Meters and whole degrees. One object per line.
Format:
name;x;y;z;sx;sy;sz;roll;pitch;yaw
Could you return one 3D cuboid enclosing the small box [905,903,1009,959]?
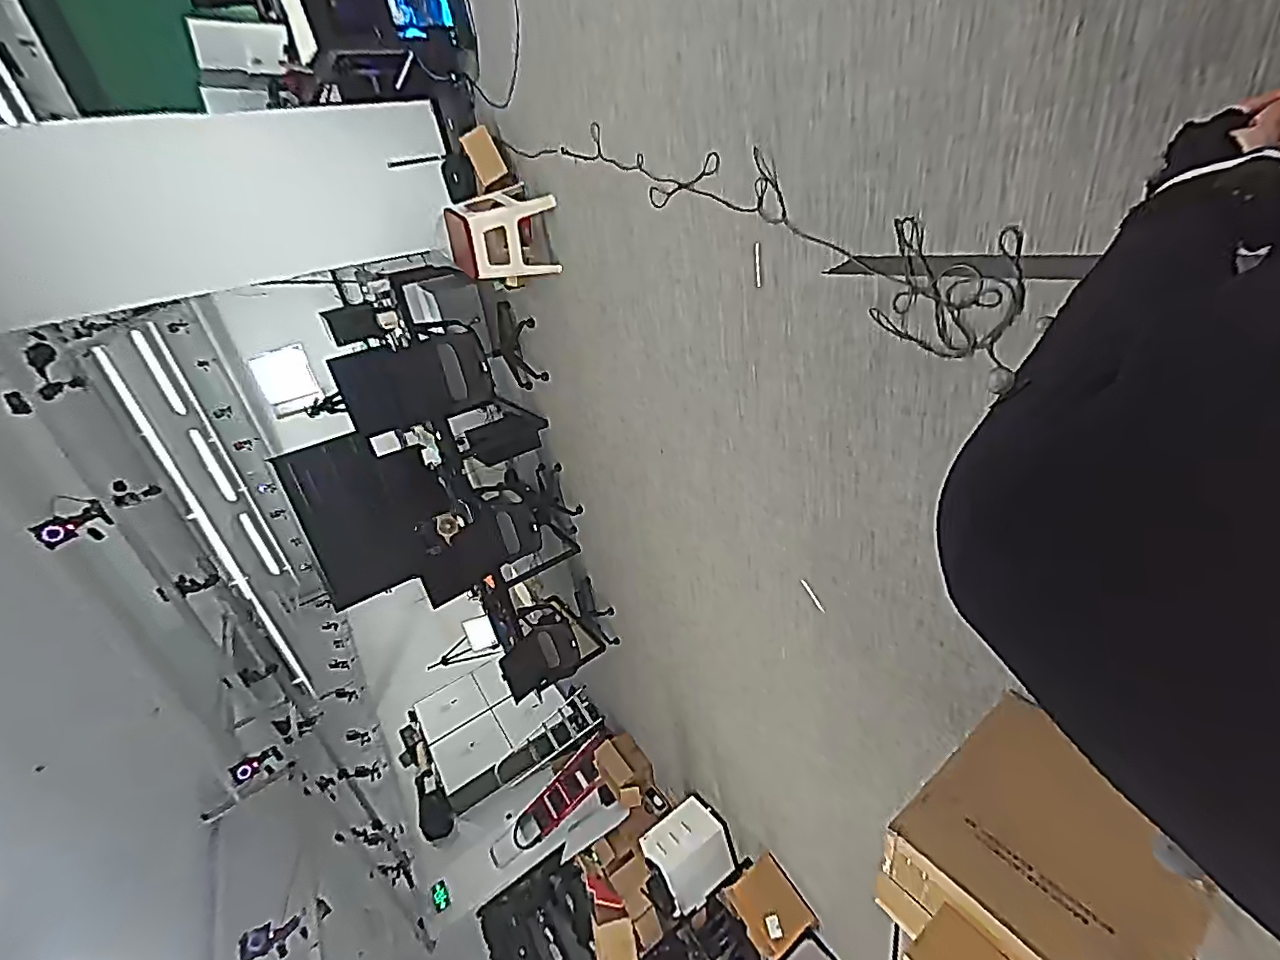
small box;0.729;1.130;1.228;0.179;0.176;0.168;31;137;50
